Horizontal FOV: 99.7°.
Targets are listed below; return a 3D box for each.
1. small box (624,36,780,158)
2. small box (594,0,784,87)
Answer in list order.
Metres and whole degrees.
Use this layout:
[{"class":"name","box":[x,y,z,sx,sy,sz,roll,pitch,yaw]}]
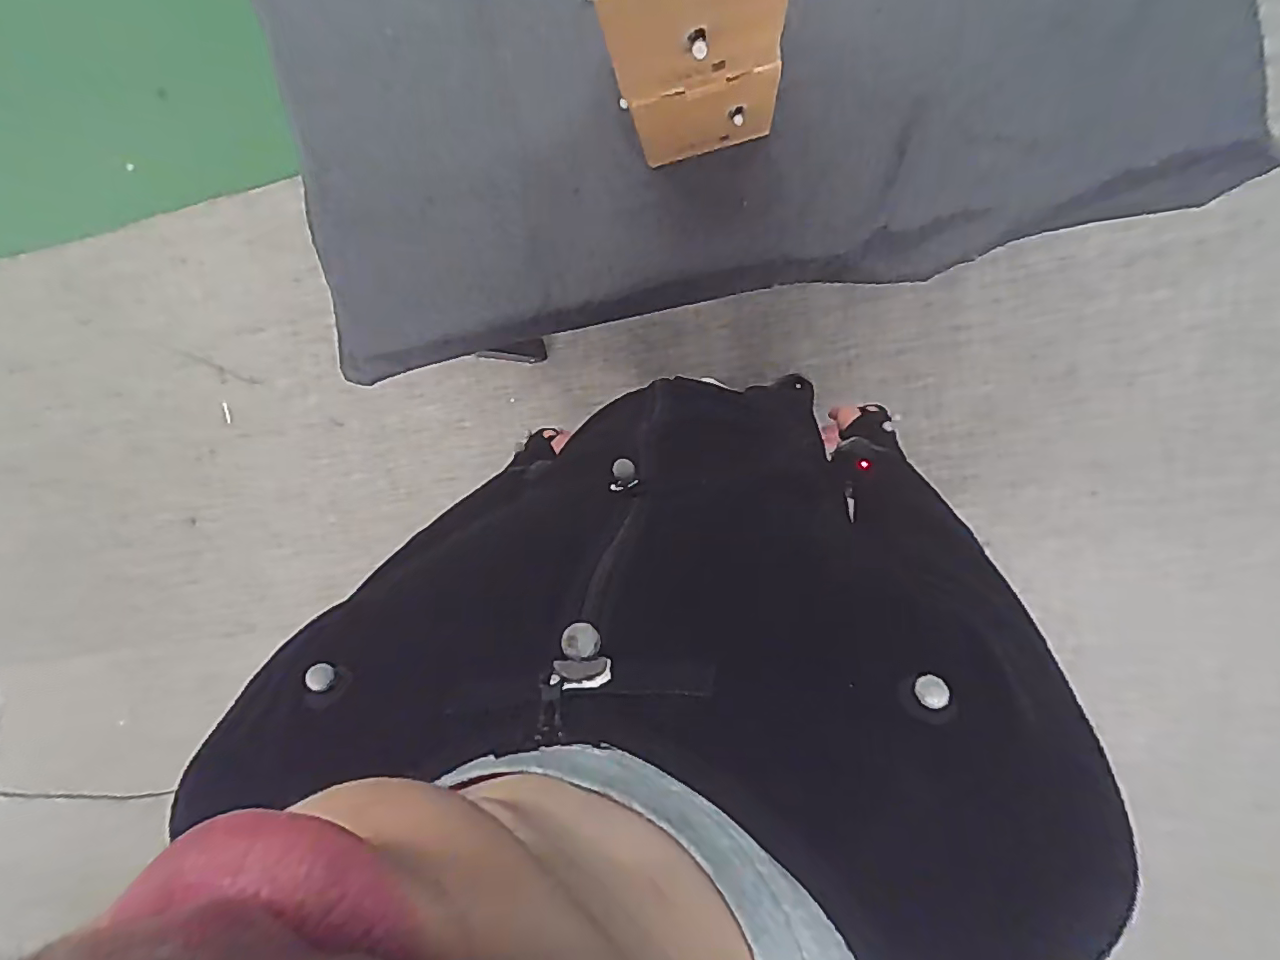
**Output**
[{"class":"small box","box":[0.063,-0.513,0.641,0.168,0.176,0.179,-11,97,8]},{"class":"small box","box":[0.038,-0.490,0.480,0.168,0.176,0.179,-9,100,8]}]
